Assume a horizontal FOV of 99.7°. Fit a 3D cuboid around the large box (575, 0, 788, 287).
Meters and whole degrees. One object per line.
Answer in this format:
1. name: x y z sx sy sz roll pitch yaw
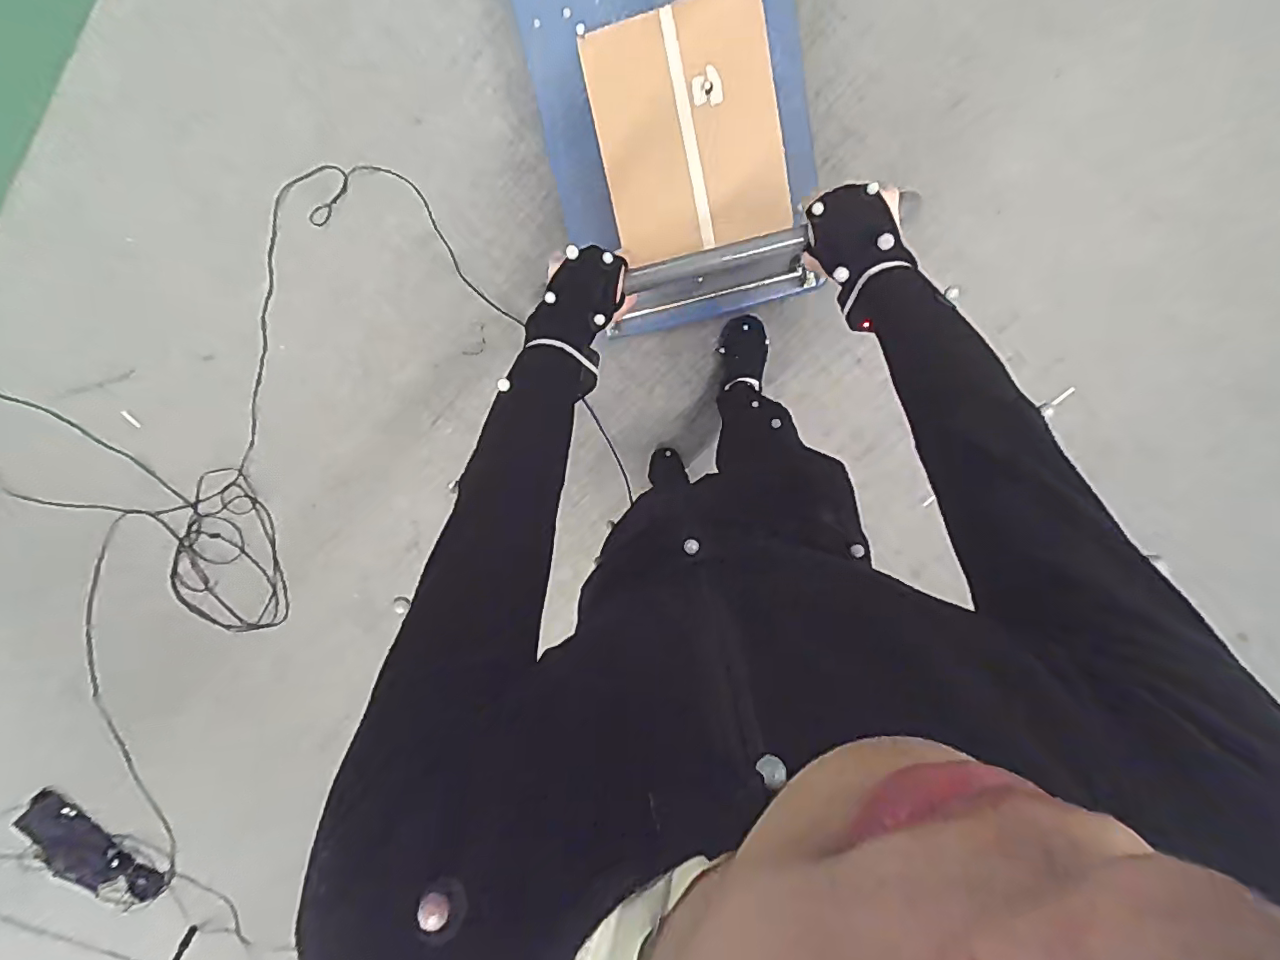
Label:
1. large box: 0.097 -0.647 1.108 0.320 0.320 0.408 -11 104 9
